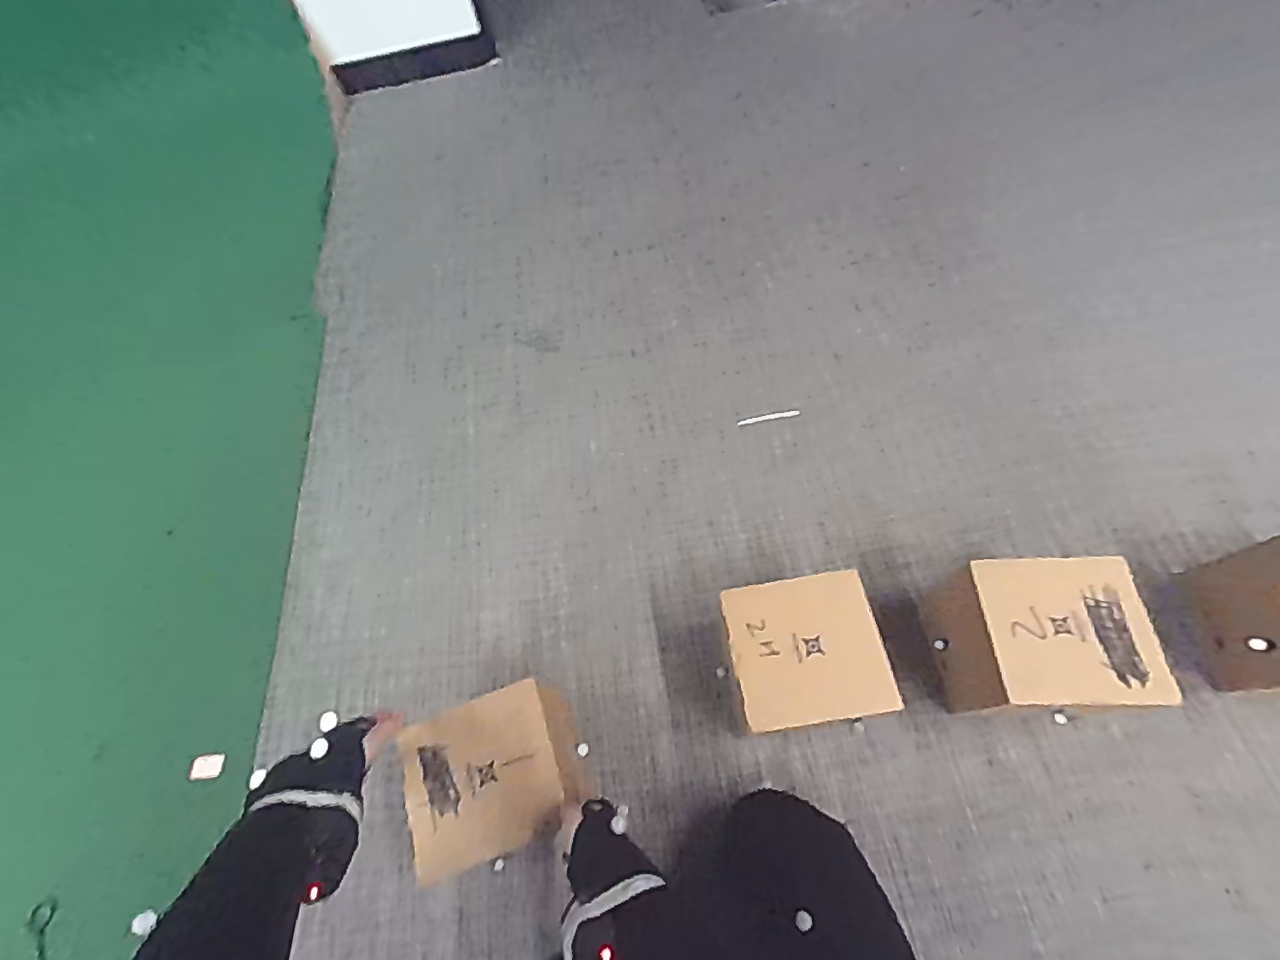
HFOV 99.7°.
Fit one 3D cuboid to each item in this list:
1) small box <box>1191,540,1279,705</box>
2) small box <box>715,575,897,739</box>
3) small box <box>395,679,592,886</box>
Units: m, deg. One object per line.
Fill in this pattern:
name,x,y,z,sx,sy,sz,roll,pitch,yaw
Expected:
small box,0.834,0.183,0.655,0.179,0.176,0.168,5,64,9
small box,0.198,0.236,0.704,0.179,0.176,0.168,-9,61,2
small box,-0.176,0.373,0.680,0.179,0.176,0.168,-20,62,-4
